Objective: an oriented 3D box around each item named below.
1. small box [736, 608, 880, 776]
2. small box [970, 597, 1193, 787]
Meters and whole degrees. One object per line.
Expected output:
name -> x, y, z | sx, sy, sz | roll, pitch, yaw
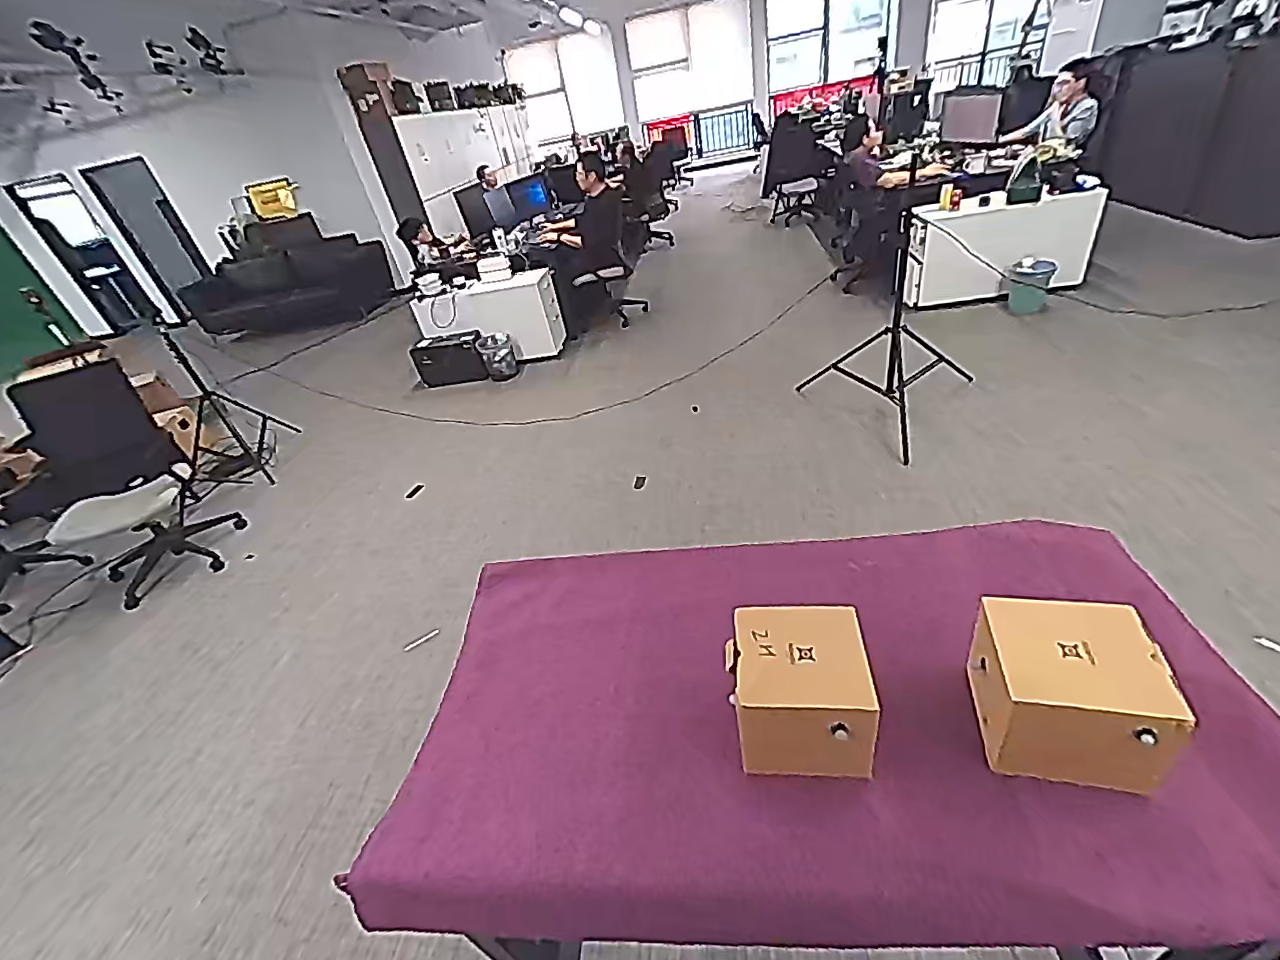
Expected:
small box -> 0.233, 0.305, 0.783 | 0.179, 0.176, 0.168 | -4, 34, 12
small box -> 0.556, 0.278, 0.717 | 0.179, 0.176, 0.168 | 0, 36, 18
